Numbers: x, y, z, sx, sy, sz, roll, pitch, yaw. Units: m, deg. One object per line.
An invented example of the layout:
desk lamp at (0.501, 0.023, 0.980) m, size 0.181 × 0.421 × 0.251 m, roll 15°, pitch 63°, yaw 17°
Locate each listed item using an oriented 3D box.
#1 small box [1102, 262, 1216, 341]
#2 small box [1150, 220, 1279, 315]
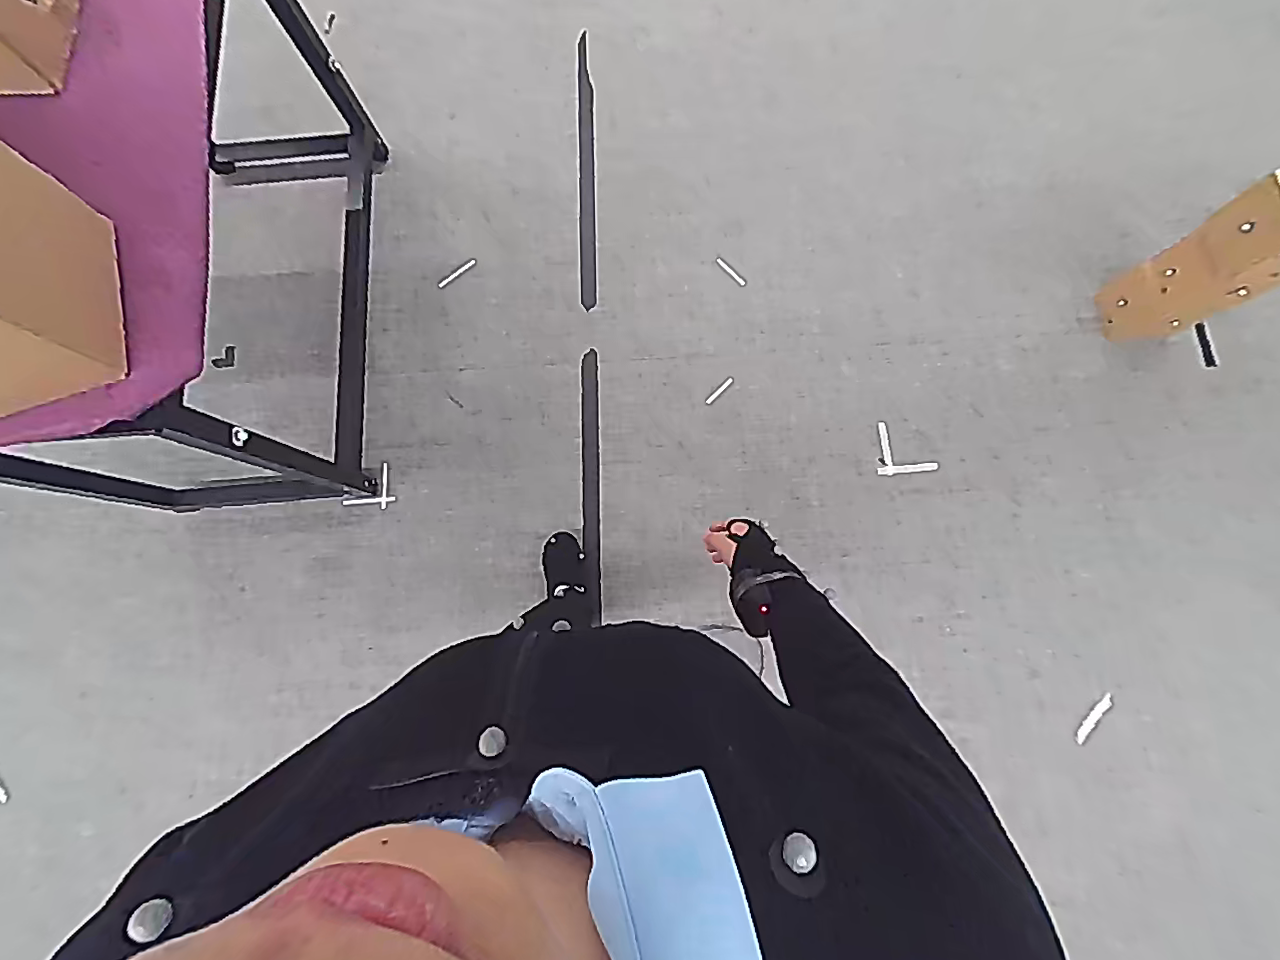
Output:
small box at (1.483, -0.512, 1.553) m, size 0.179 × 0.176 × 0.168 m, roll -5°, pitch 79°, yaw 0°
small box at (1.489, -0.541, 1.393) m, size 0.179 × 0.176 × 0.168 m, roll -3°, pitch 78°, yaw 1°
